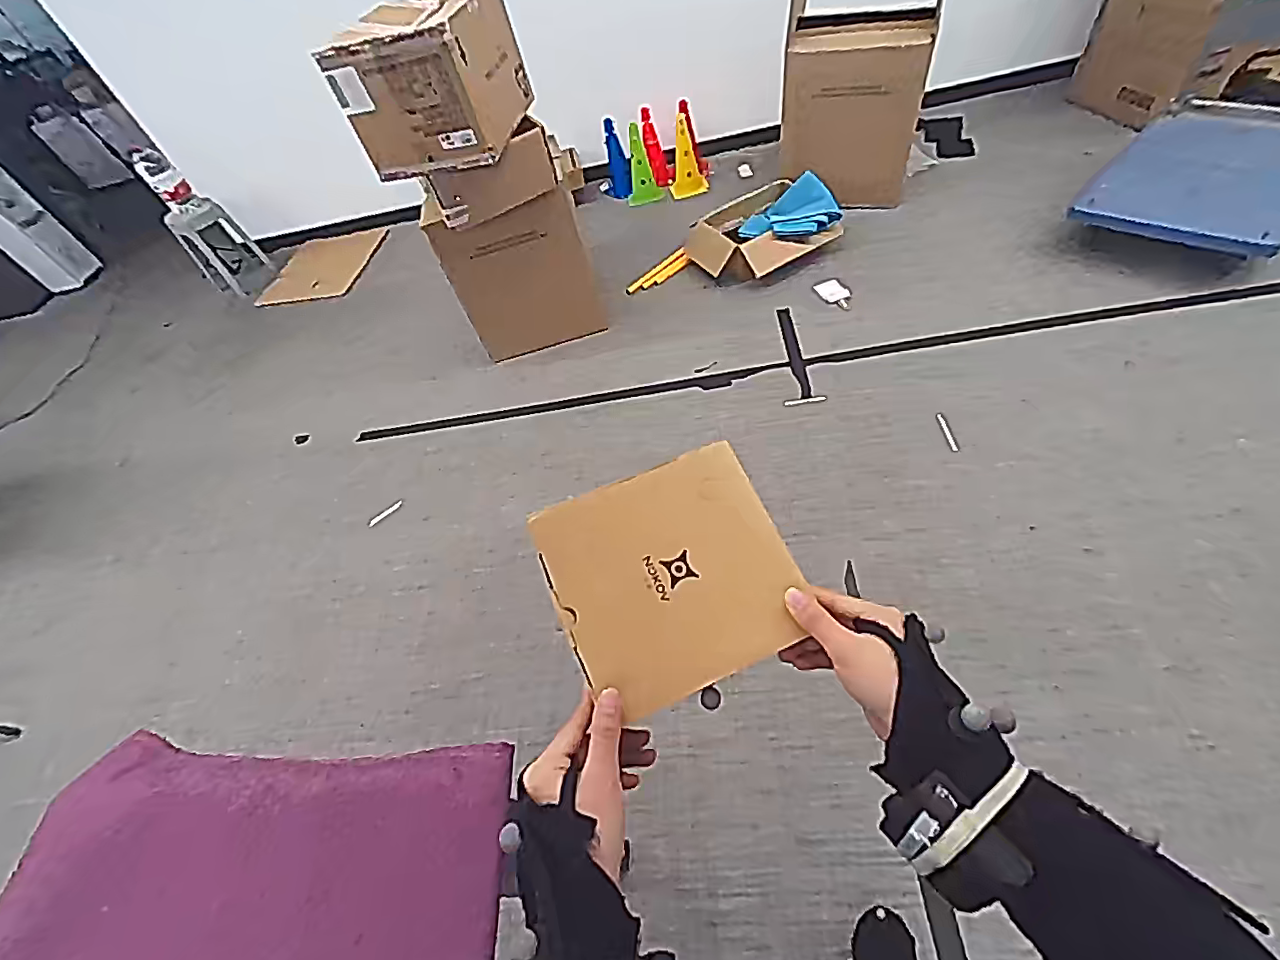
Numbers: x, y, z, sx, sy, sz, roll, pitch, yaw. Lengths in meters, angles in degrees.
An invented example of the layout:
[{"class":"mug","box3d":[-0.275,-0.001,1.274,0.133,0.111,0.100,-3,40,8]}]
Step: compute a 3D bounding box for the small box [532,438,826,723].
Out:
[{"class":"small box","box3d":[0.023,0.093,0.476,0.179,0.176,0.168,-22,70,-10]}]
